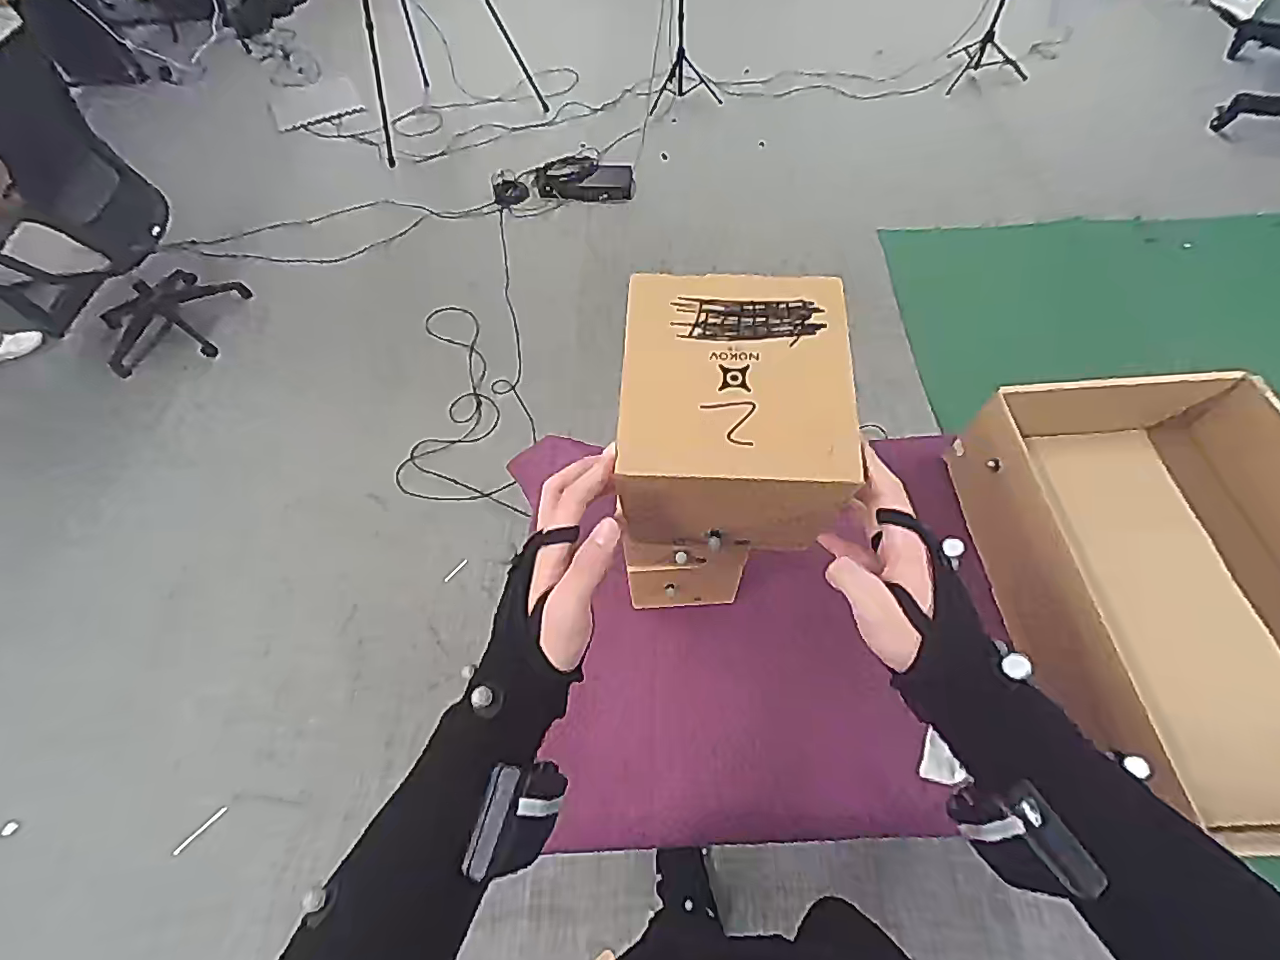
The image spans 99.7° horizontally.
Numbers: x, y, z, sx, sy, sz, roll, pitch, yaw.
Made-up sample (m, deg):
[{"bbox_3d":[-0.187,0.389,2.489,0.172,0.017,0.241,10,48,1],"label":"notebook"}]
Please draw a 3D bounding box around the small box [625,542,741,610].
[{"bbox_3d":[0.065,0.101,0.863,0.168,0.176,0.179,-4,56,2],"label":"small box"}]

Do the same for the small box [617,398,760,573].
[{"bbox_3d":[0.062,0.009,0.726,0.168,0.176,0.179,0,58,4],"label":"small box"}]
